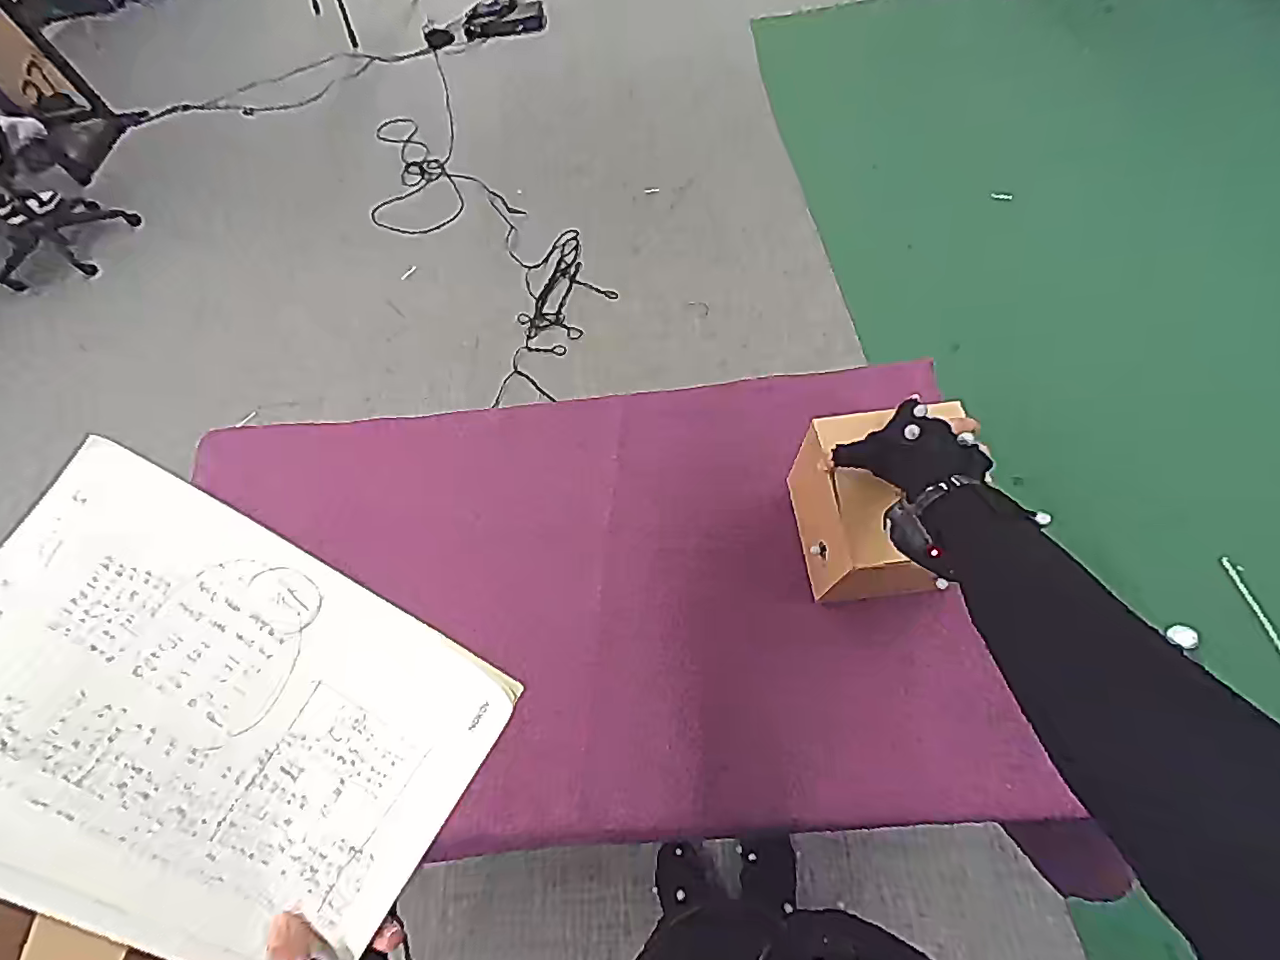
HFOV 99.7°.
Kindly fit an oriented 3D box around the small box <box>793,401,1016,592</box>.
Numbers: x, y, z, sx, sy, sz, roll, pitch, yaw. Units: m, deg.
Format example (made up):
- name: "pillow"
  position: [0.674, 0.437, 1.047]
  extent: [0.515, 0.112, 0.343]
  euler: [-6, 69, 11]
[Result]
- name: "small box"
  position: [0.290, 0.031, 0.640]
  extent: [0.168, 0.176, 0.179]
  euler: [-6, 66, 2]
